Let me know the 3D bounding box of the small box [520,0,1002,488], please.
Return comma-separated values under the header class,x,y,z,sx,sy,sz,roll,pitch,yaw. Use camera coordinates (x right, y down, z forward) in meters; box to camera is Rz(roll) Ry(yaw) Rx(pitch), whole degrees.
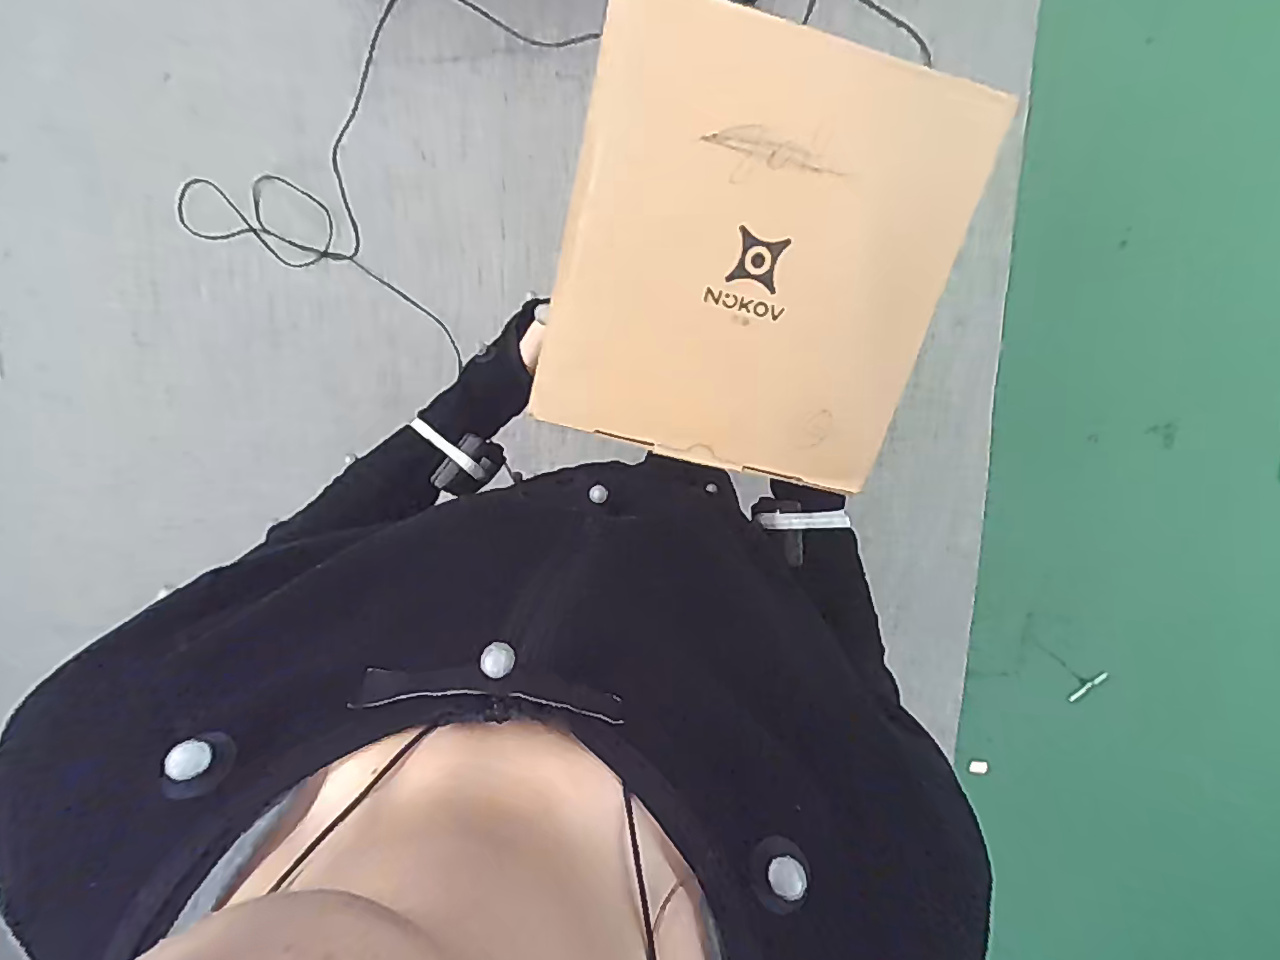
class,x,y,z,sx,sy,sz,roll,pitch,yaw
small box,0.043,-0.118,0.306,0.168,0.176,0.179,14,106,-6
